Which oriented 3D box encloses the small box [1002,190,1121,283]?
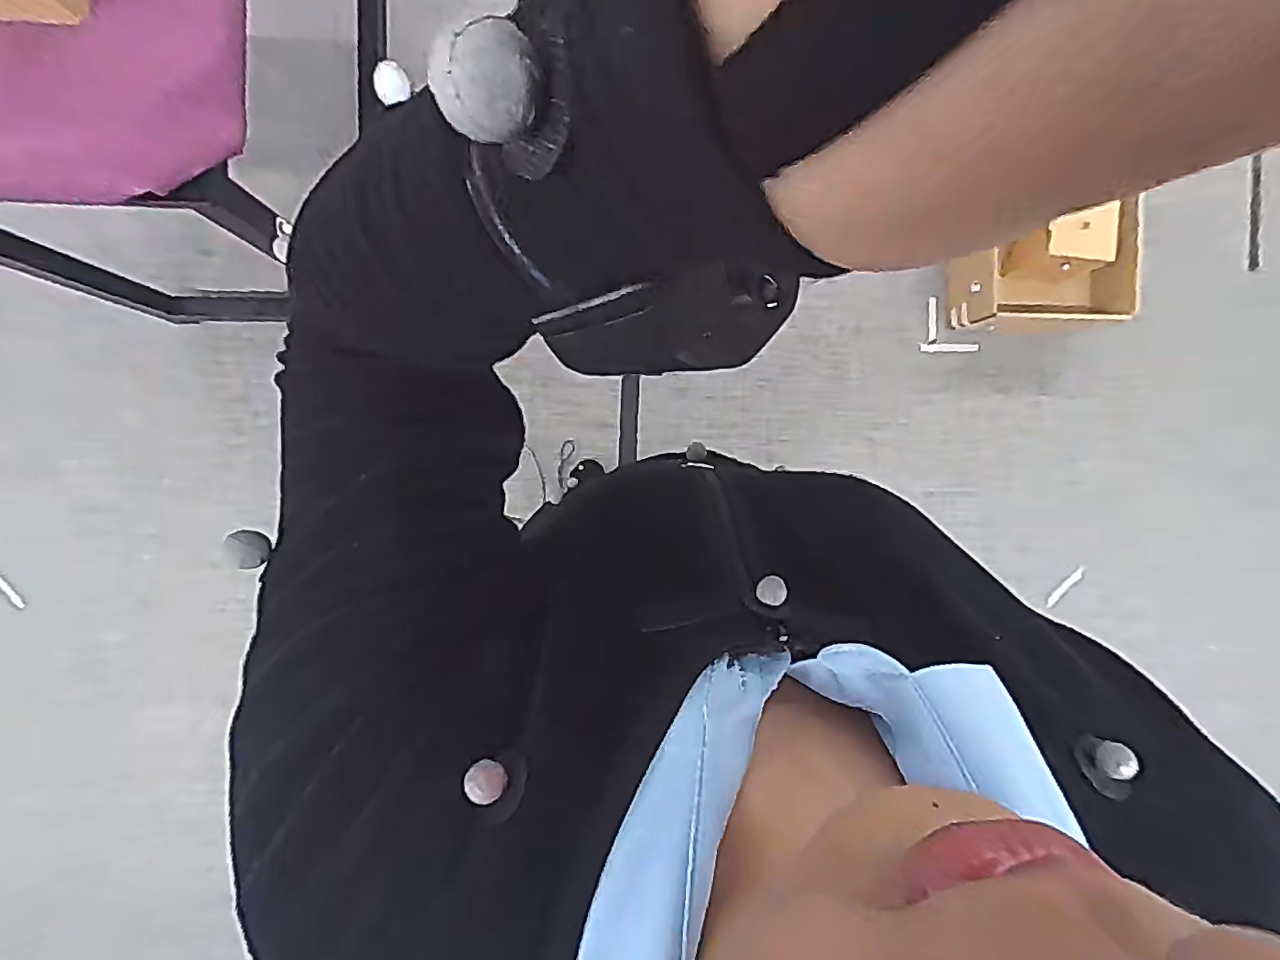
[{"bbox_3d":[1.112,-0.636,1.436,0.179,0.176,0.168,6,90,-3],"label":"small box"}]
